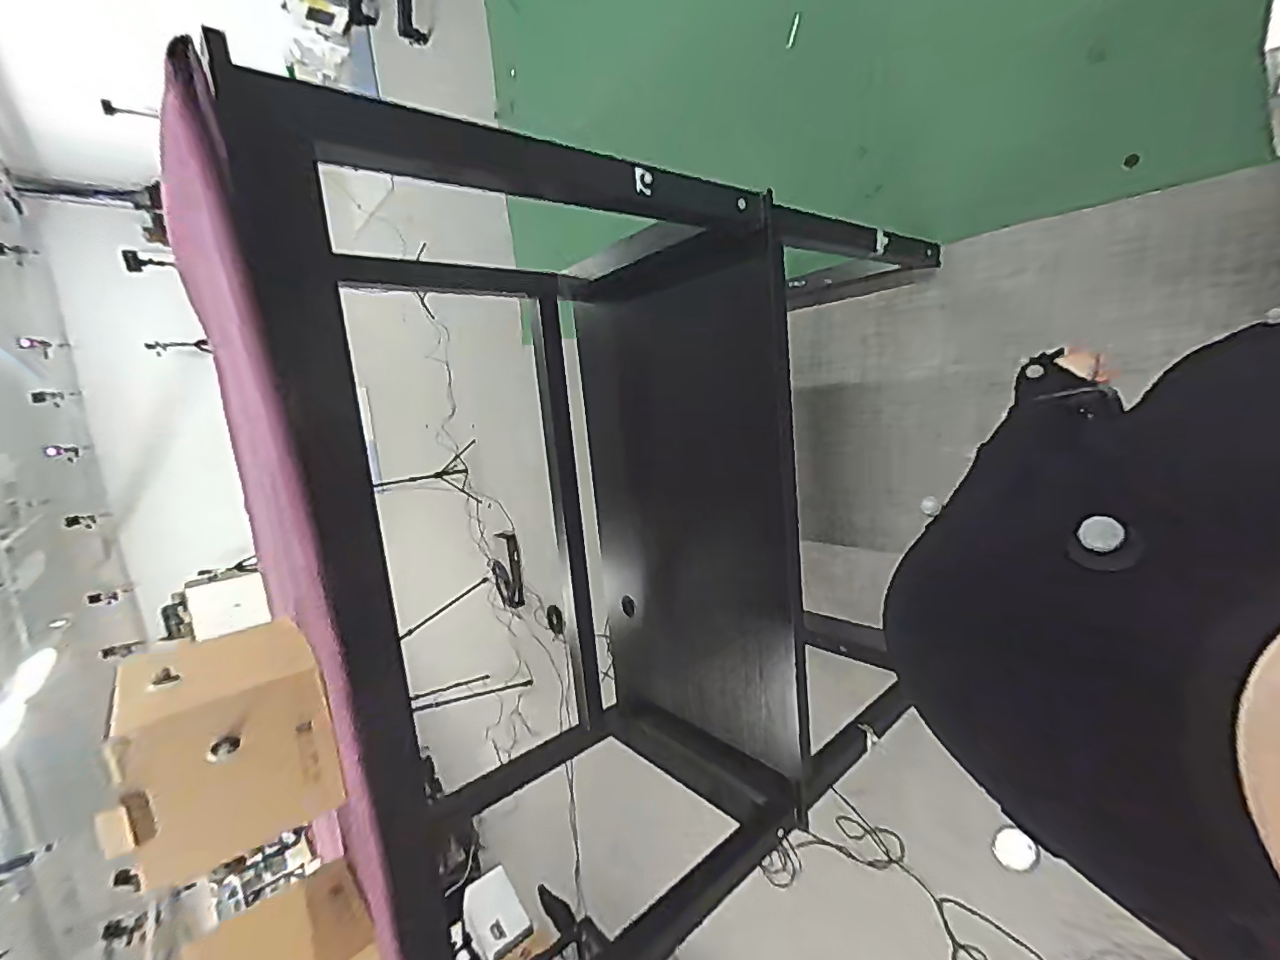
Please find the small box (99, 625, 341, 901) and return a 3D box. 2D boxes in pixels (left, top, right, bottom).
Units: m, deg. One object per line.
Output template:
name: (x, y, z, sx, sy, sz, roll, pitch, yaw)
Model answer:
small box: (-0.434, 0.274, 0.578, 0.179, 0.176, 0.168, 9, 106, 49)
